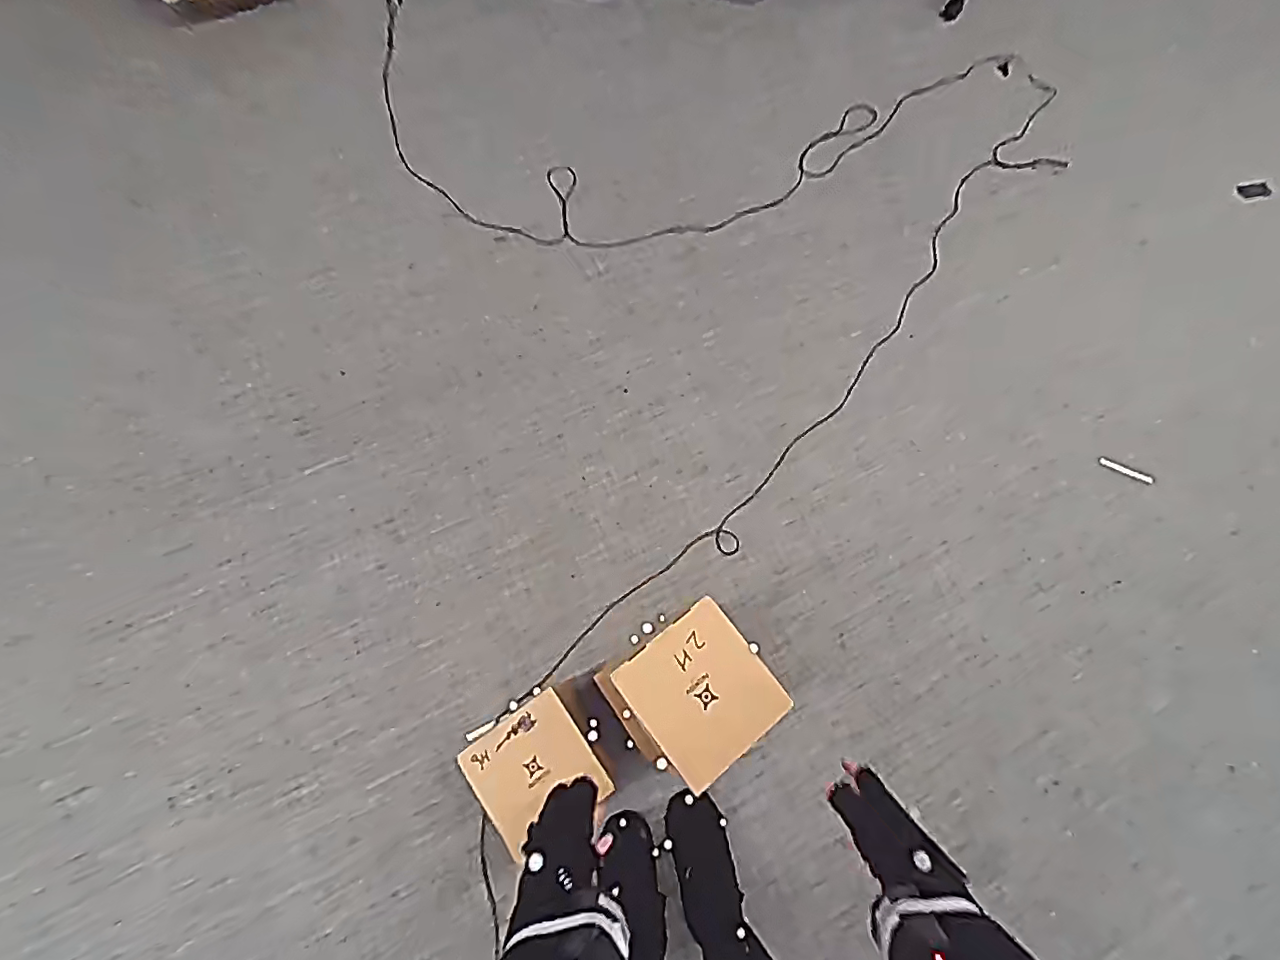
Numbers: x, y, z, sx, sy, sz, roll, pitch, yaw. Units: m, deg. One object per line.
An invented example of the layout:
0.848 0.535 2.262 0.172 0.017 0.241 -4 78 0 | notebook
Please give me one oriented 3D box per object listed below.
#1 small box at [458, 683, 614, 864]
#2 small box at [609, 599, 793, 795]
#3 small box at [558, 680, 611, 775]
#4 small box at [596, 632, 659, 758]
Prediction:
-0.156 0.445 0.858 0.168 0.176 0.179 -33 79 -13 | small box
0.072 0.285 0.749 0.168 0.176 0.179 -36 80 -13 | small box
-0.165 0.497 1.014 0.168 0.176 0.179 -29 77 -12 | small box
0.026 0.402 1.055 0.168 0.176 0.179 -34 79 -13 | small box
